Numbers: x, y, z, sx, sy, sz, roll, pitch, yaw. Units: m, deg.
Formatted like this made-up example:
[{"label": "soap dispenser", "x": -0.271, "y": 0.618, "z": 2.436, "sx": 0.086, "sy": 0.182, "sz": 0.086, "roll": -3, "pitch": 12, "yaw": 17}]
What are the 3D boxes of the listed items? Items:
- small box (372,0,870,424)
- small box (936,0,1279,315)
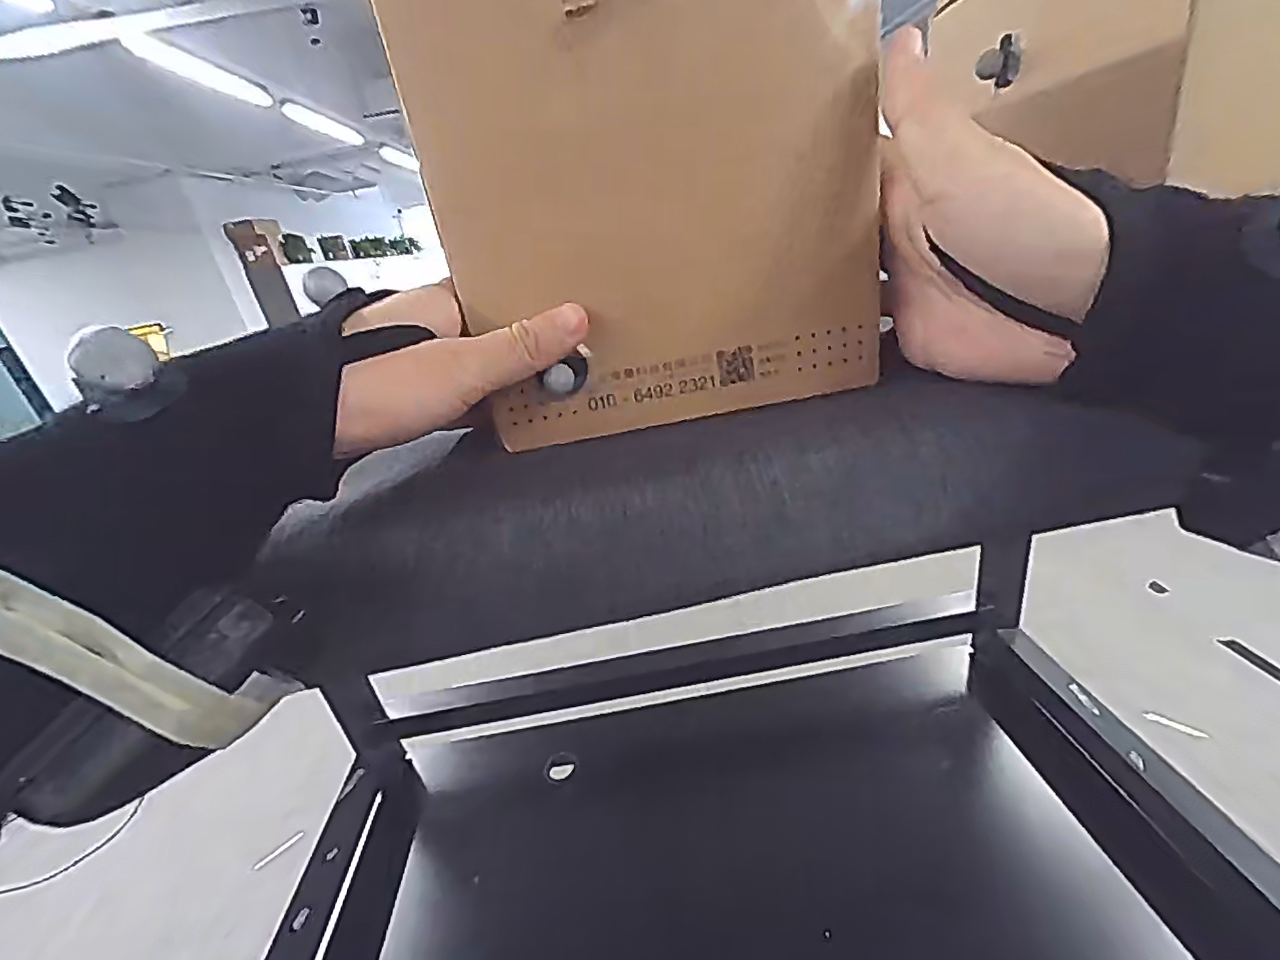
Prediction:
[{"label": "small box", "x": 0.003, "y": -0.135, "z": 0.274, "sx": 0.168, "sy": 0.176, "sz": 0.179, "roll": -11, "pitch": 22, "yaw": 0}, {"label": "small box", "x": 0.273, "y": -0.187, "z": 0.274, "sx": 0.168, "sy": 0.176, "sz": 0.179, "roll": -11, "pitch": 23, "yaw": 2}]
